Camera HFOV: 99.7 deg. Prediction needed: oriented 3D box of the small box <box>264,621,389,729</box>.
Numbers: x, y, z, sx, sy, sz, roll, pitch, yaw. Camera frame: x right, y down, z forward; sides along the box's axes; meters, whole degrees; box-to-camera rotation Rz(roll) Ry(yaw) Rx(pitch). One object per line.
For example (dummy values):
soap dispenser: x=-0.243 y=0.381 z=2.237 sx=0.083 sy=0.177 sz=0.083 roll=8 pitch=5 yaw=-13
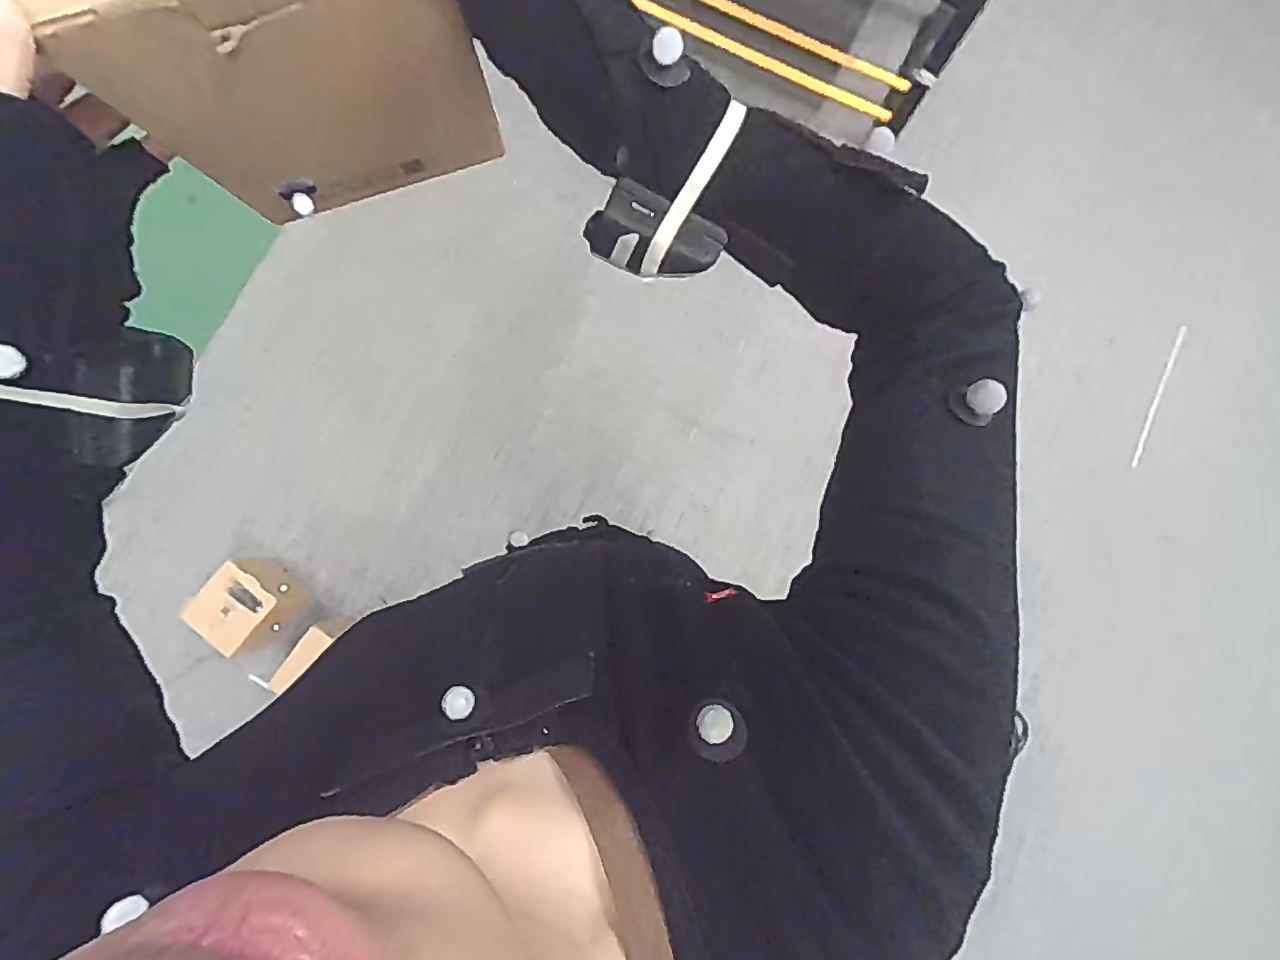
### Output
small box: x=-0.767 y=0.476 z=1.348 sx=0.168 sy=0.176 sz=0.179 roll=35 pitch=82 yaw=2

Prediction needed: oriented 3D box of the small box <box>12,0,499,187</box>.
small box: x=-0.186 y=-0.282 z=0.279 sx=0.168 sy=0.176 sz=0.179 roll=-18 pitch=92 yaw=-4

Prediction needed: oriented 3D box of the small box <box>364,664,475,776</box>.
small box: x=-0.535 y=0.585 z=1.341 sx=0.168 sy=0.176 sz=0.179 roll=27 pitch=82 yaw=2
